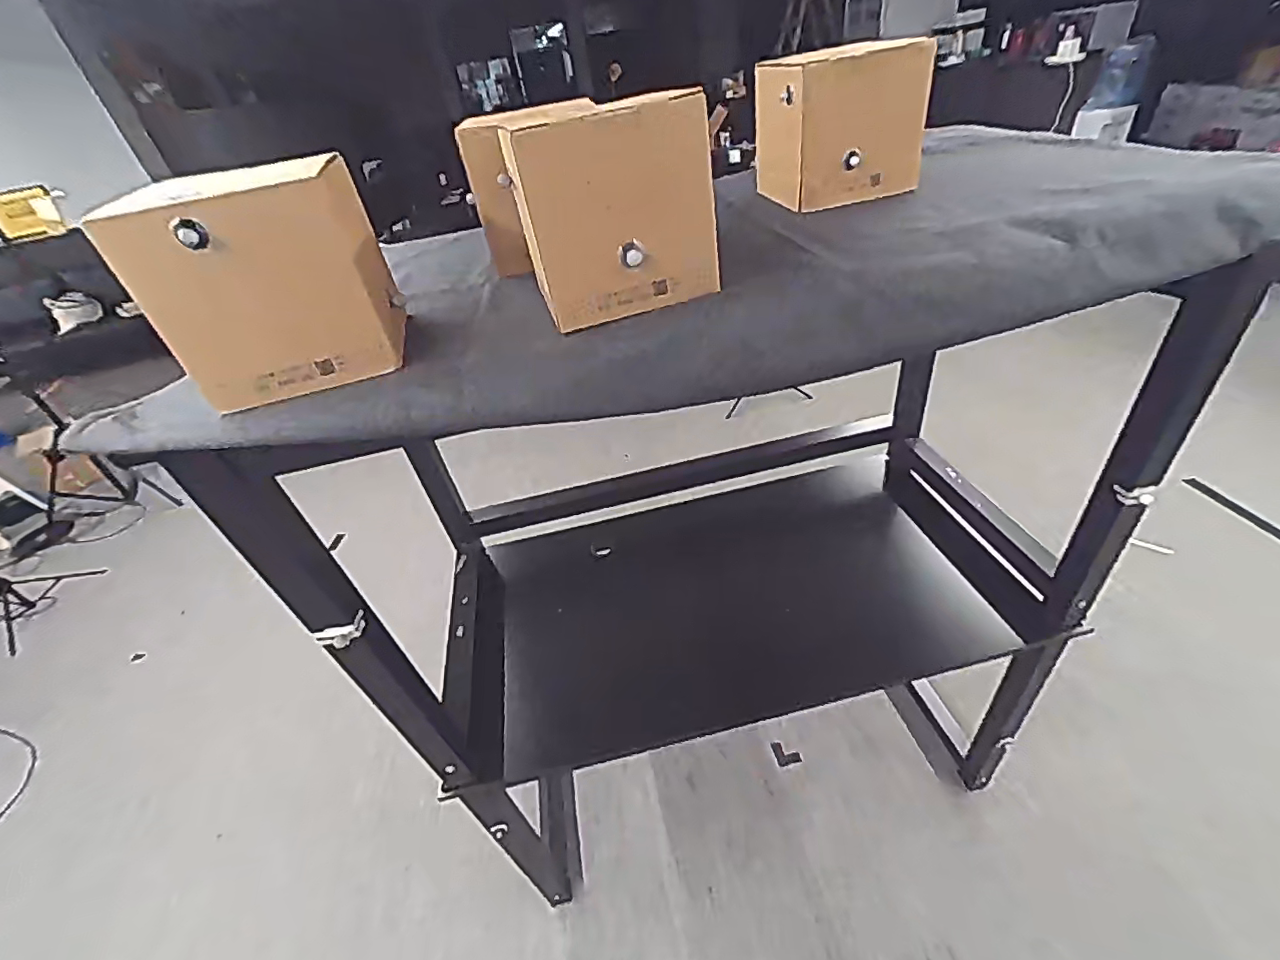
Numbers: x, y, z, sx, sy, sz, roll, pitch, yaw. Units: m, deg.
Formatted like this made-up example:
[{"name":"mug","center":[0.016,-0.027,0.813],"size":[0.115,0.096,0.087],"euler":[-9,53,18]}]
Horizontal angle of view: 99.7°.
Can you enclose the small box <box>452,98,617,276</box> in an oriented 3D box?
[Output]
[{"name":"small box","center":[-0.130,-0.383,0.714],"size":[0.168,0.176,0.179],"euler":[-11,39,-2]}]

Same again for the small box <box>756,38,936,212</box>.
[{"name":"small box","center":[0.264,-0.482,0.742],"size":[0.168,0.176,0.179],"euler":[-14,39,-3]}]

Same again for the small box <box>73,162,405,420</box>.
[{"name":"small box","center":[-0.336,-0.180,0.505],"size":[0.168,0.176,0.179],"euler":[-18,39,-9]}]
